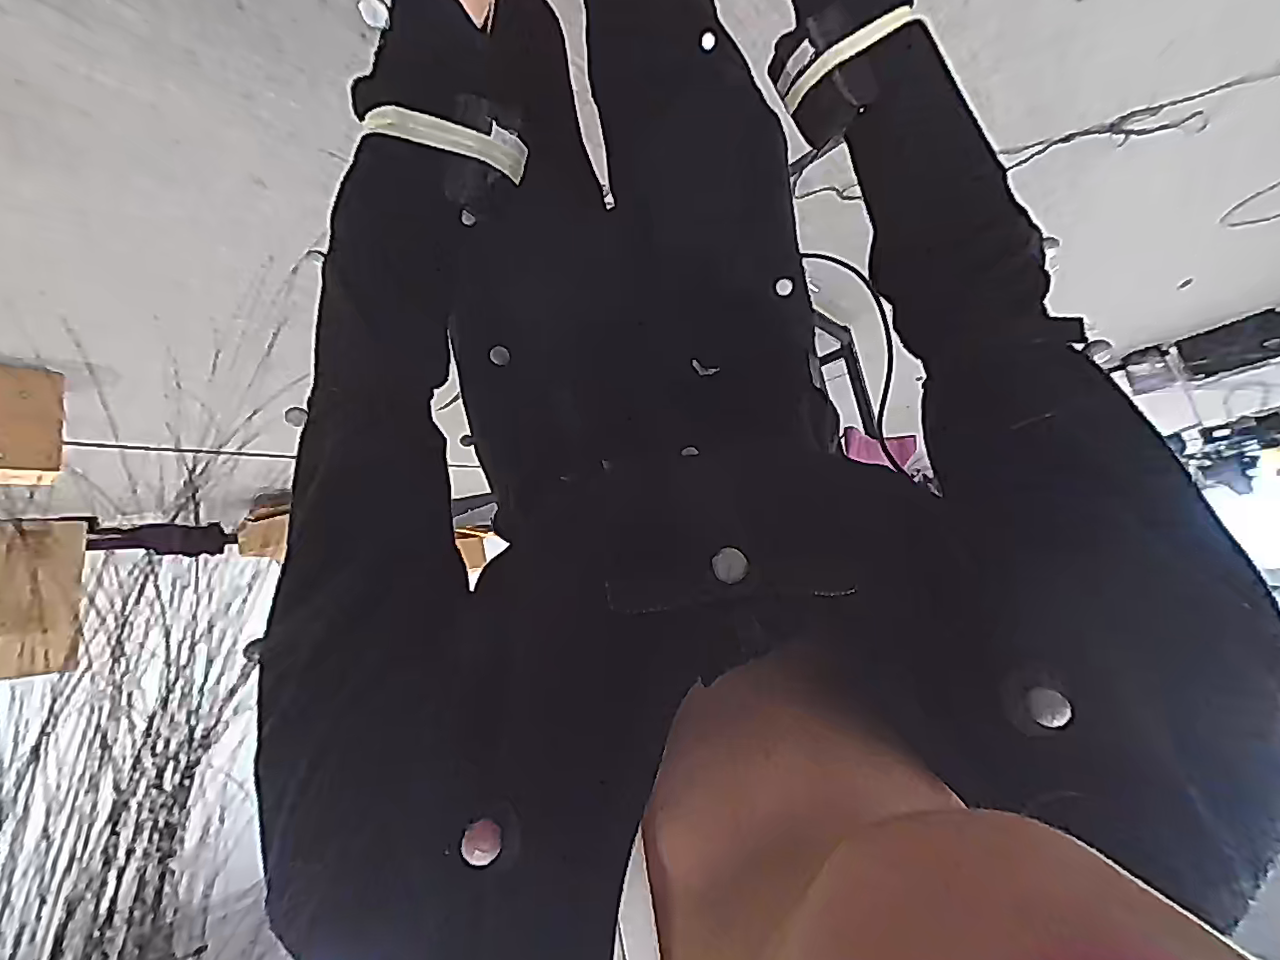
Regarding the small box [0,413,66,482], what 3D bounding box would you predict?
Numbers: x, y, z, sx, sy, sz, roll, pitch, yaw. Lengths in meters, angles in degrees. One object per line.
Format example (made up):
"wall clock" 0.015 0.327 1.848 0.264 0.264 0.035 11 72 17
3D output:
"small box" -1.922 -0.100 1.674 0.168 0.176 0.179 -18 167 35
